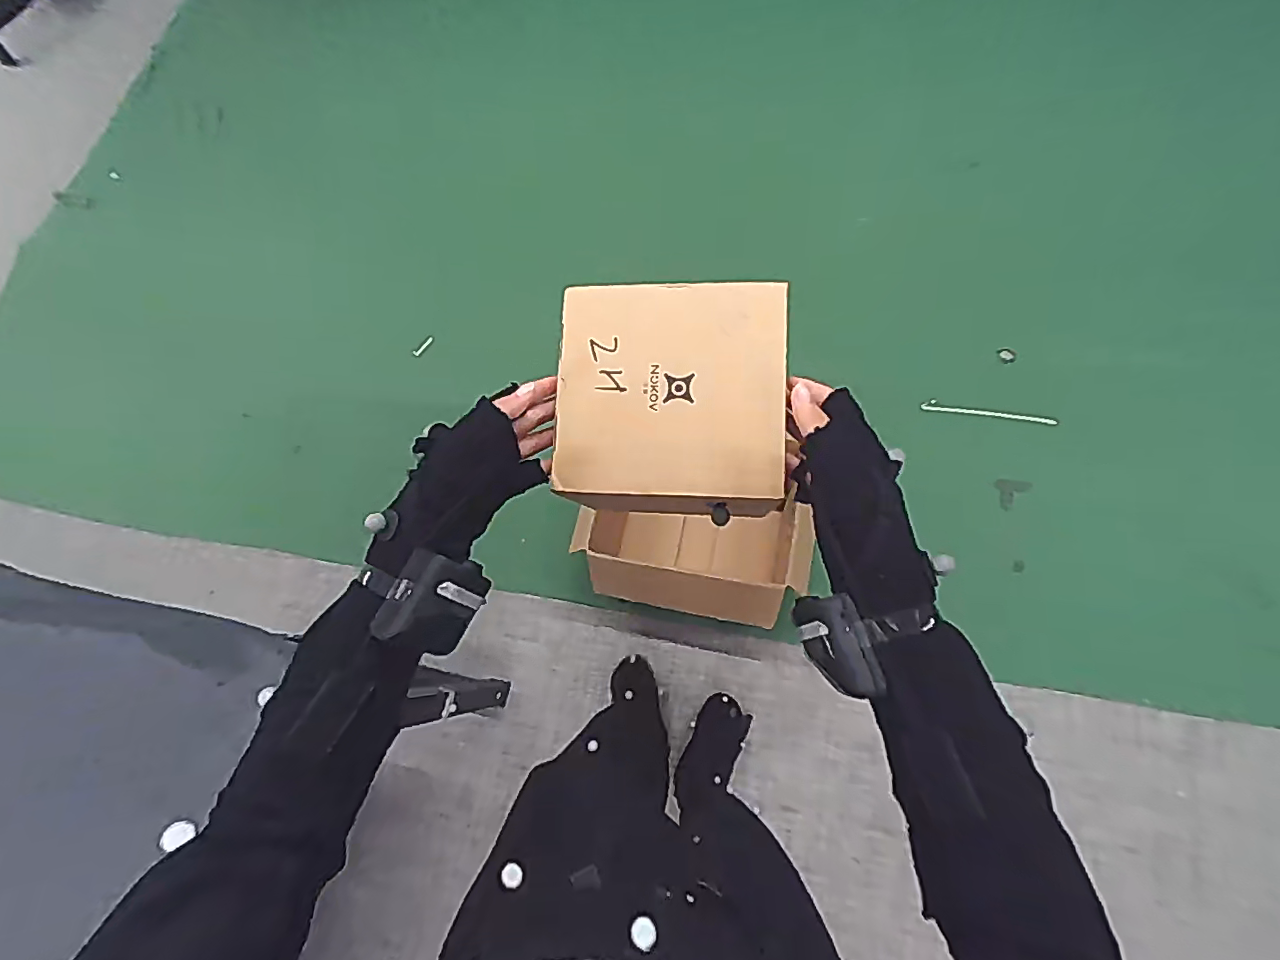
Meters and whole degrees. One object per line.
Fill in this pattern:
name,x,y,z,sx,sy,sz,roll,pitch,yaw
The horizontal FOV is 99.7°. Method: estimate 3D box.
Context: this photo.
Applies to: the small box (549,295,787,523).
small box,0.032,-0.052,0.491,0.179,0.176,0.168,2,81,9
